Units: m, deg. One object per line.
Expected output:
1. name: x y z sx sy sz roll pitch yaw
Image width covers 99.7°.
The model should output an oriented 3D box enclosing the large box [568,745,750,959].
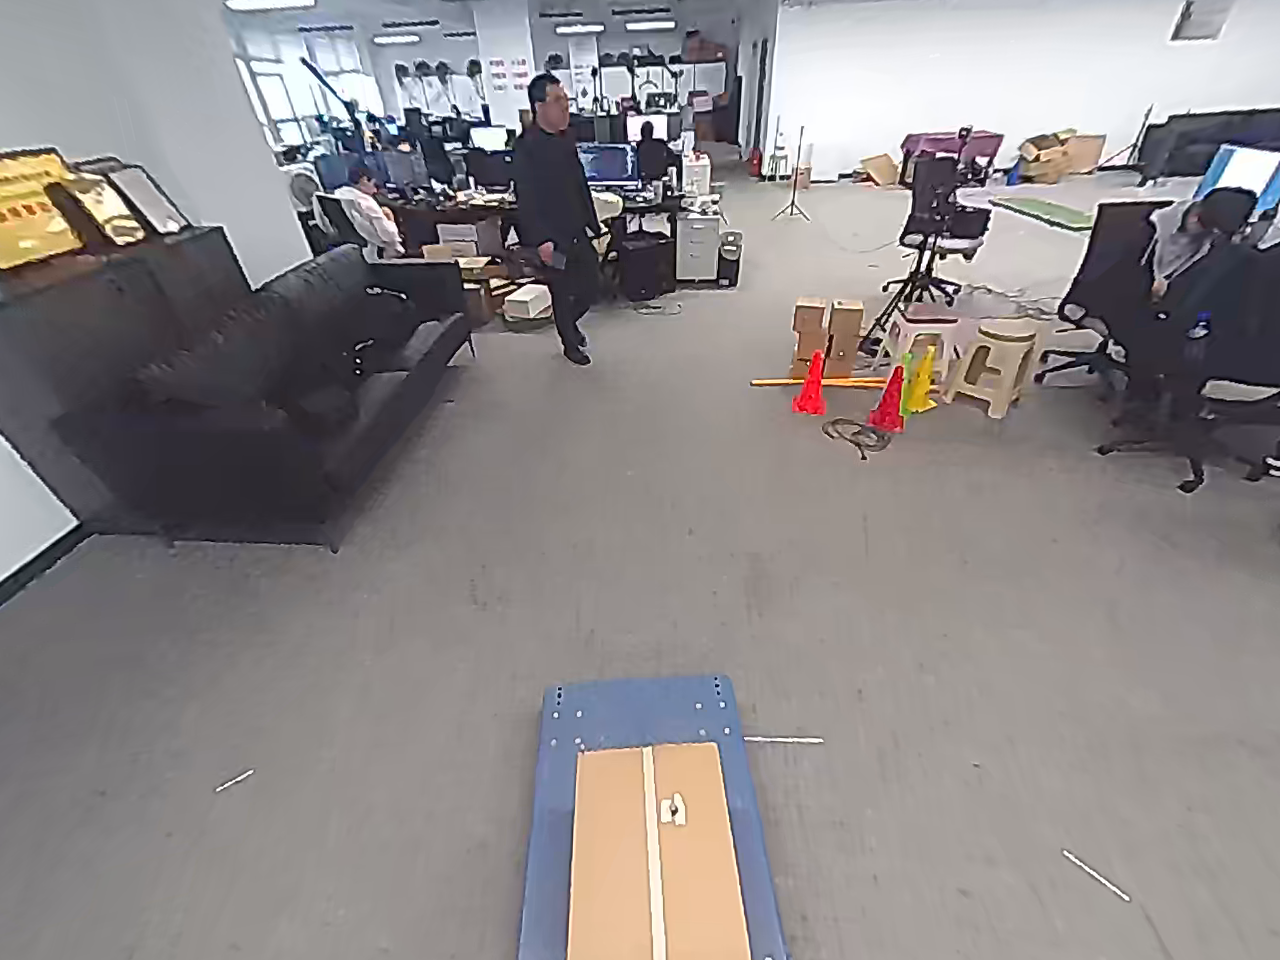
1. large box: 0.031 0.842 1.135 0.320 0.320 0.408 -3 36 -1
